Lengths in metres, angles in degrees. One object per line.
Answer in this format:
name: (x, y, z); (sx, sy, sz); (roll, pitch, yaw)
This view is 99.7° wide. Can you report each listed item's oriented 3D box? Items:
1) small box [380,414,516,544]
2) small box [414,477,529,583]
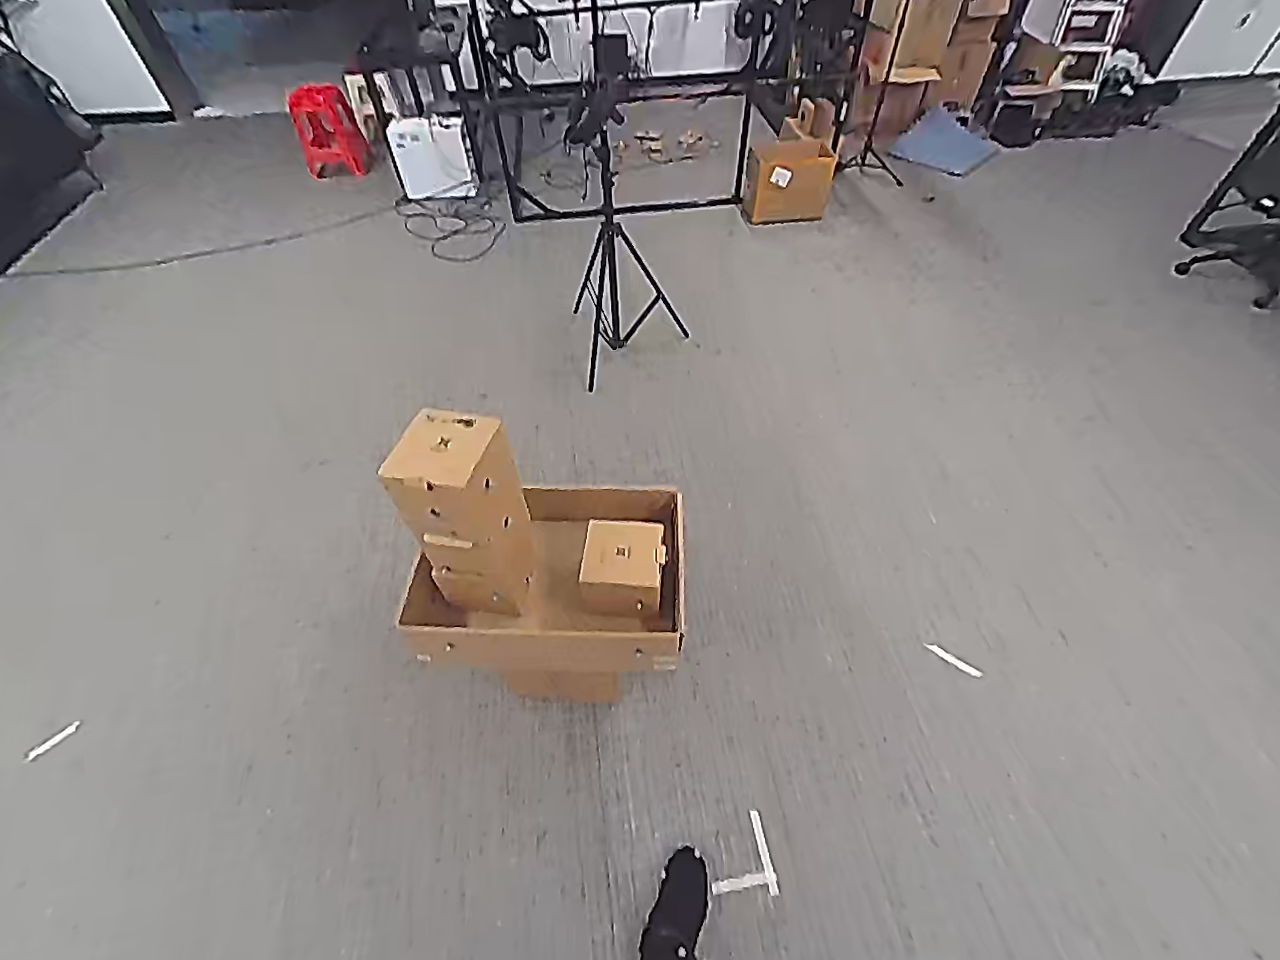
small box: (-0.351, 0.001, 1.034); (0.168, 0.176, 0.179); (10, 51, 9)
small box: (-0.349, 0.103, 1.164); (0.168, 0.176, 0.179); (6, 50, 7)
